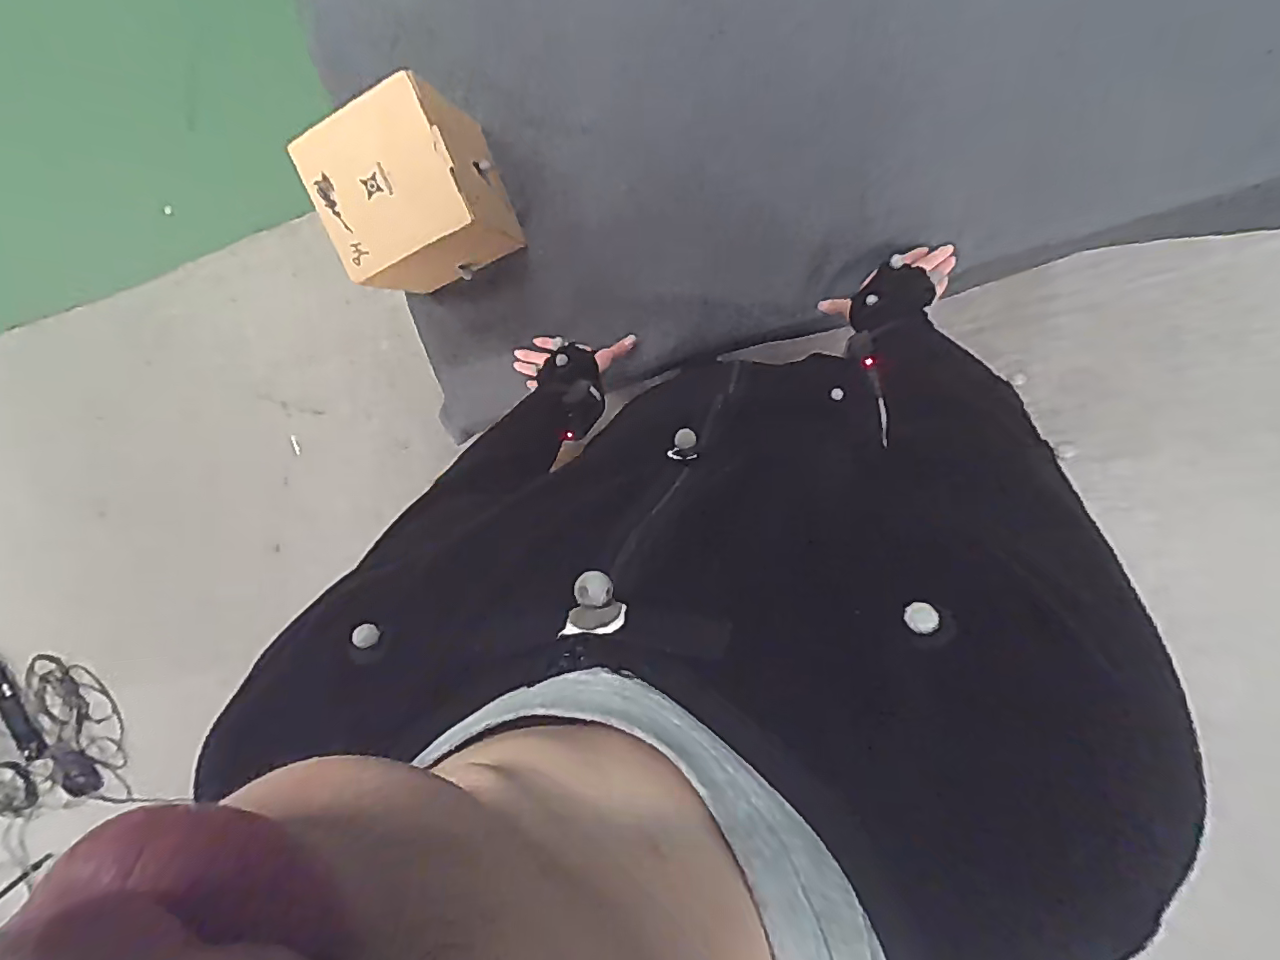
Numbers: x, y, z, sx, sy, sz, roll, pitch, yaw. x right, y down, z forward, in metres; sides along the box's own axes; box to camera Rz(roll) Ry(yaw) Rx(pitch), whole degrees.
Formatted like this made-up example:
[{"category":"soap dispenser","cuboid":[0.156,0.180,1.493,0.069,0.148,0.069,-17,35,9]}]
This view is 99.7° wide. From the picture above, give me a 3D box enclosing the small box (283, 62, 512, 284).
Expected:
[{"category":"small box","cuboid":[-0.280,-0.361,0.676,0.179,0.176,0.168,-19,101,14]}]
